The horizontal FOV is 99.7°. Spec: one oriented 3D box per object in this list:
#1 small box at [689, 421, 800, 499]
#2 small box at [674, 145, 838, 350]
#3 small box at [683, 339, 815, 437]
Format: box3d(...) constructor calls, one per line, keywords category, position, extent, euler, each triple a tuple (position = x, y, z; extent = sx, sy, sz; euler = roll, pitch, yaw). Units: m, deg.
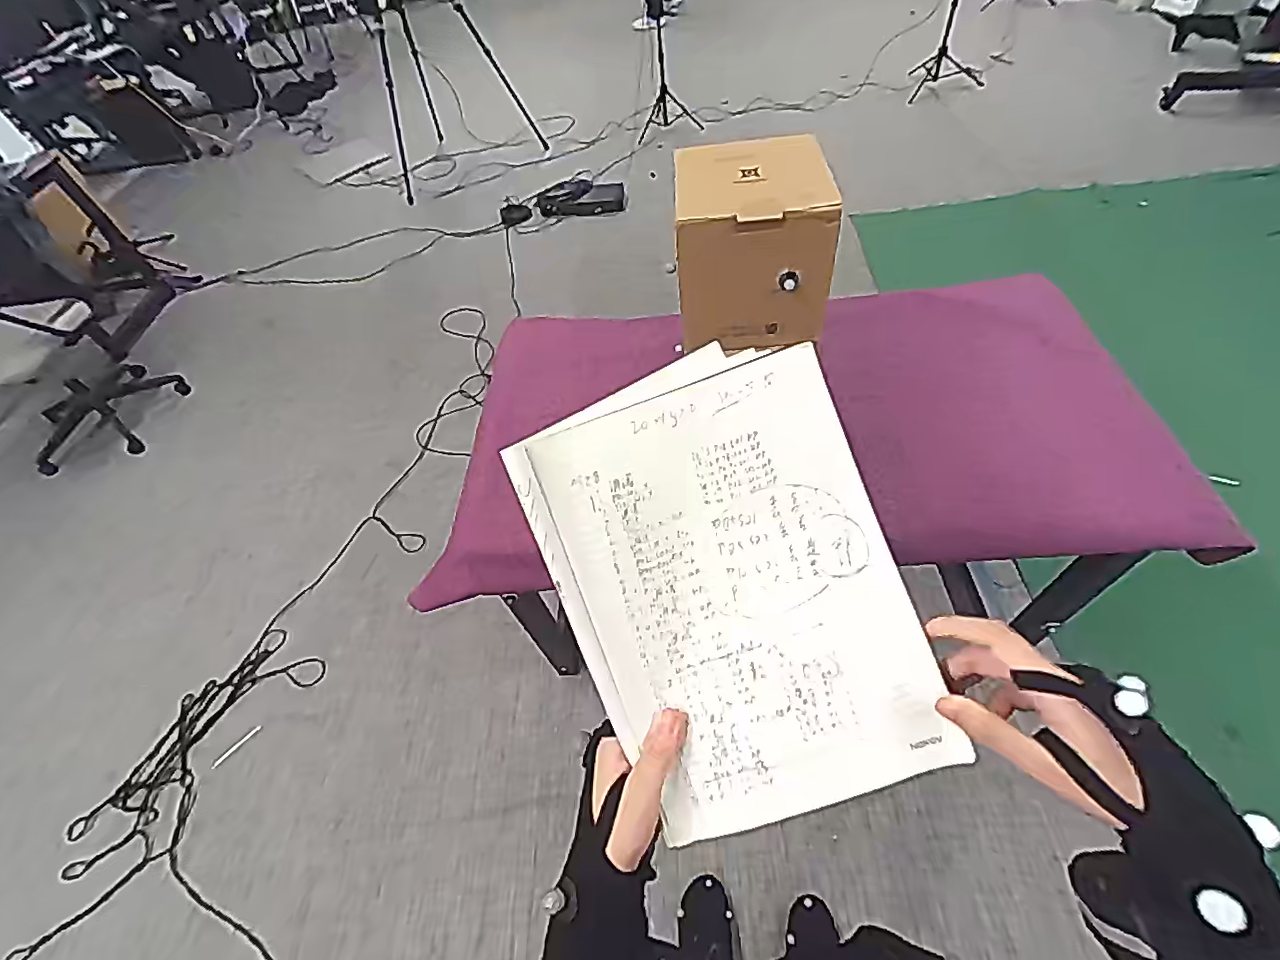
box3d(category="small box", position=(0.169, -0.079, 0.916), extent=(0.168, 0.176, 0.179), euler=(-3, 53, 6))
box3d(category="small box", position=(0.130, -0.271, 0.653), extent=(0.168, 0.176, 0.179), euler=(-2, 51, 6))
box3d(category="small box", position=(0.149, -0.175, 0.783), extent=(0.168, 0.176, 0.179), euler=(-3, 51, 6))
